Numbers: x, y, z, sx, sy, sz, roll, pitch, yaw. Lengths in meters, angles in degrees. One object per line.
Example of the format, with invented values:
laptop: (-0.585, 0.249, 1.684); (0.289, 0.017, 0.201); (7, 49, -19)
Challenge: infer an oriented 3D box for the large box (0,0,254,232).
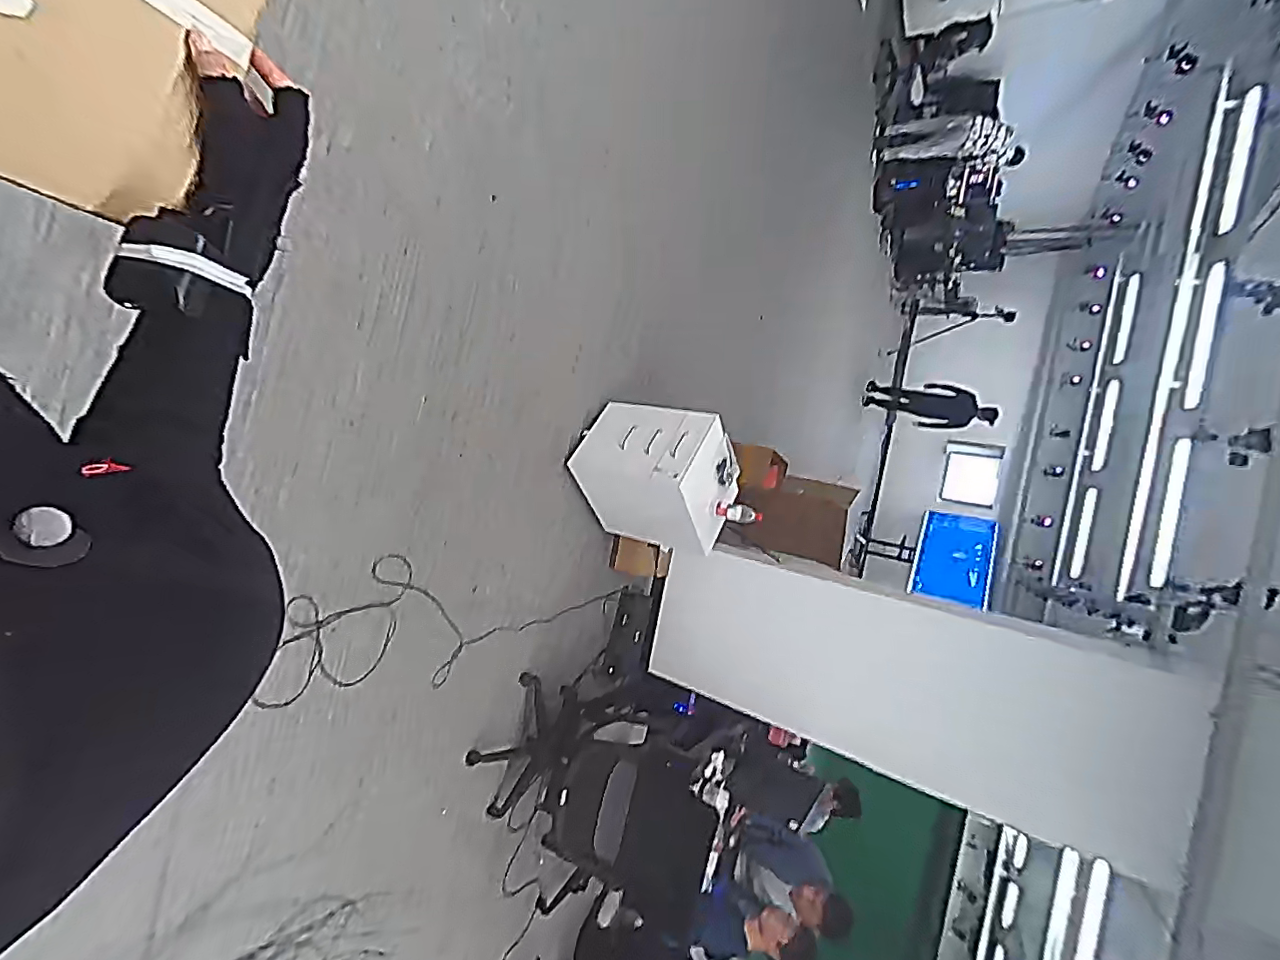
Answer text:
large box: (-0.535, -0.415, 0.331); (0.408, 0.320, 0.320); (13, 102, -60)
